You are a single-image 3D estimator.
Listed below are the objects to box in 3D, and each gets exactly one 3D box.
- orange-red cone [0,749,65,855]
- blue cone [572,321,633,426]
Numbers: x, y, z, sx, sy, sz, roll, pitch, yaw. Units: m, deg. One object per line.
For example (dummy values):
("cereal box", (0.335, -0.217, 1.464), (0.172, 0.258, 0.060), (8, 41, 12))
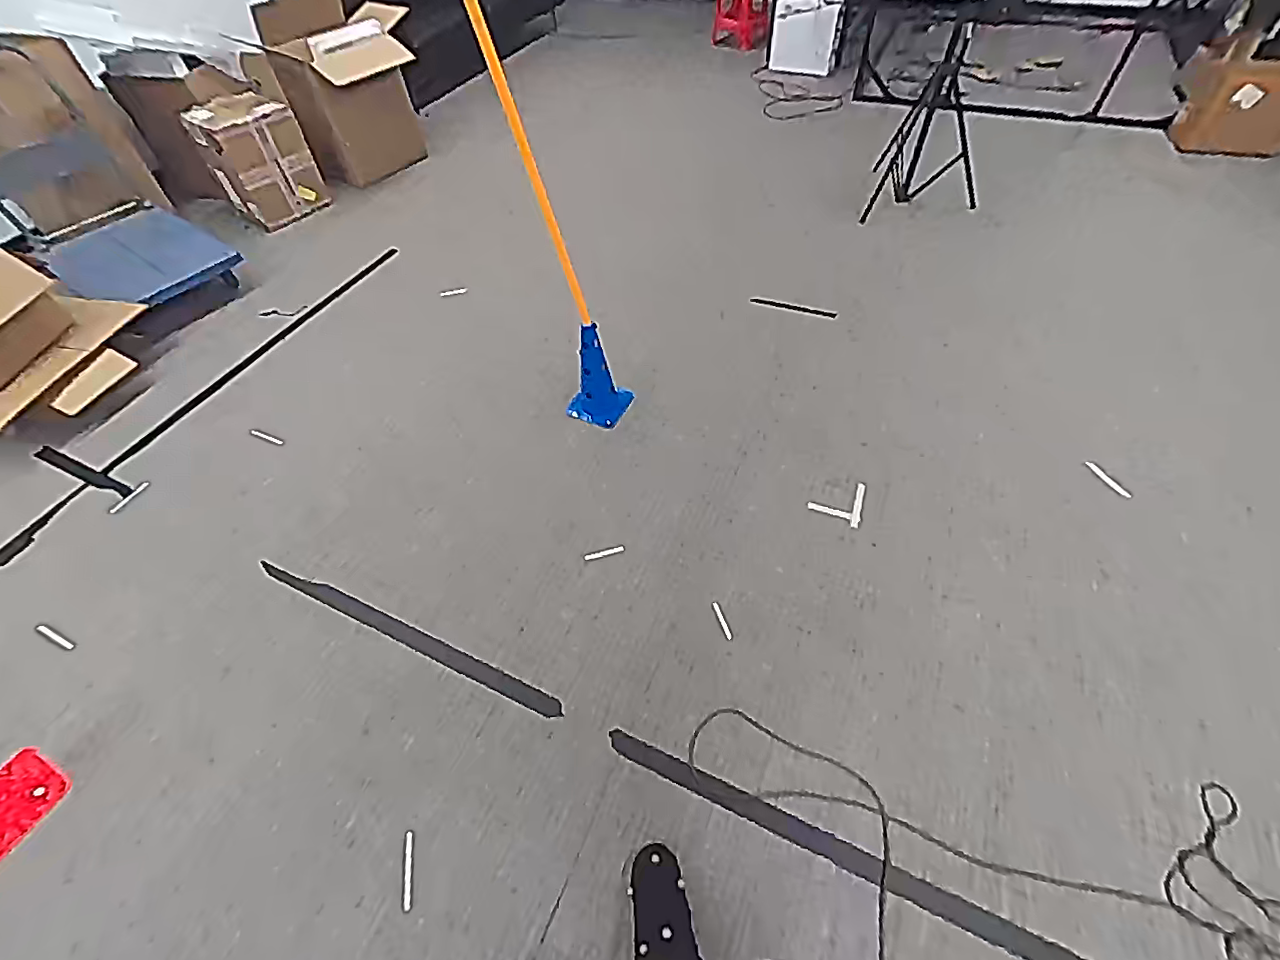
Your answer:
("orange-red cone", (-1.480, 0.652, 1.115), (0.199, 0.360, 0.198), (21, 56, 19))
("blue cone", (-0.146, -0.383, 1.864), (0.192, 0.380, 0.193), (22, 57, 18))
